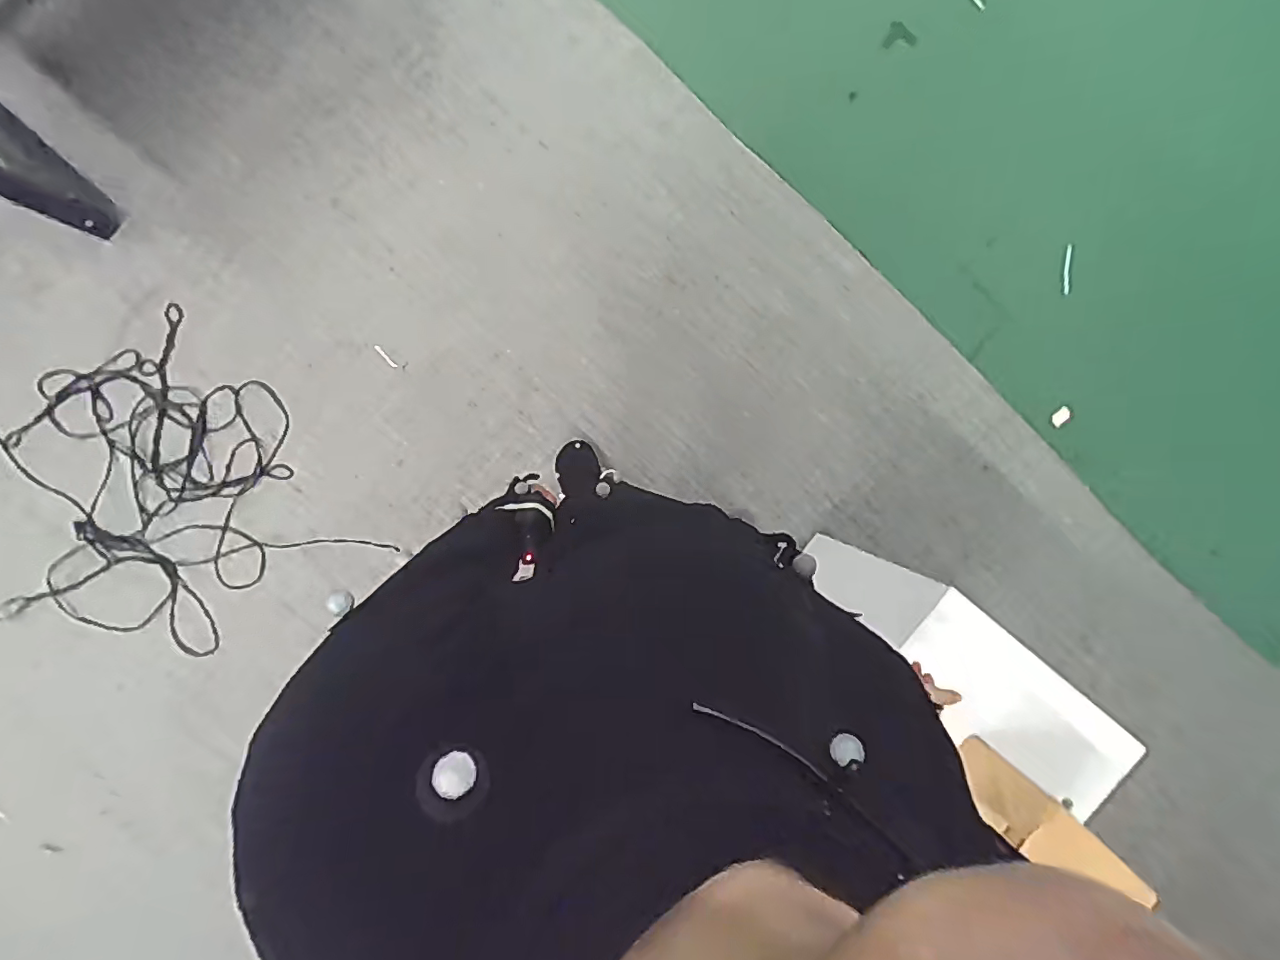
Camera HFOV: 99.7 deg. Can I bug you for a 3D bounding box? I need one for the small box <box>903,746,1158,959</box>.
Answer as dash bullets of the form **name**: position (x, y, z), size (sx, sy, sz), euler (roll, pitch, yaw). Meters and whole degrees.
- **small box**: position (0.502, 0.502, 0.724), size (0.179, 0.176, 0.168), euler (43, 91, -2)
